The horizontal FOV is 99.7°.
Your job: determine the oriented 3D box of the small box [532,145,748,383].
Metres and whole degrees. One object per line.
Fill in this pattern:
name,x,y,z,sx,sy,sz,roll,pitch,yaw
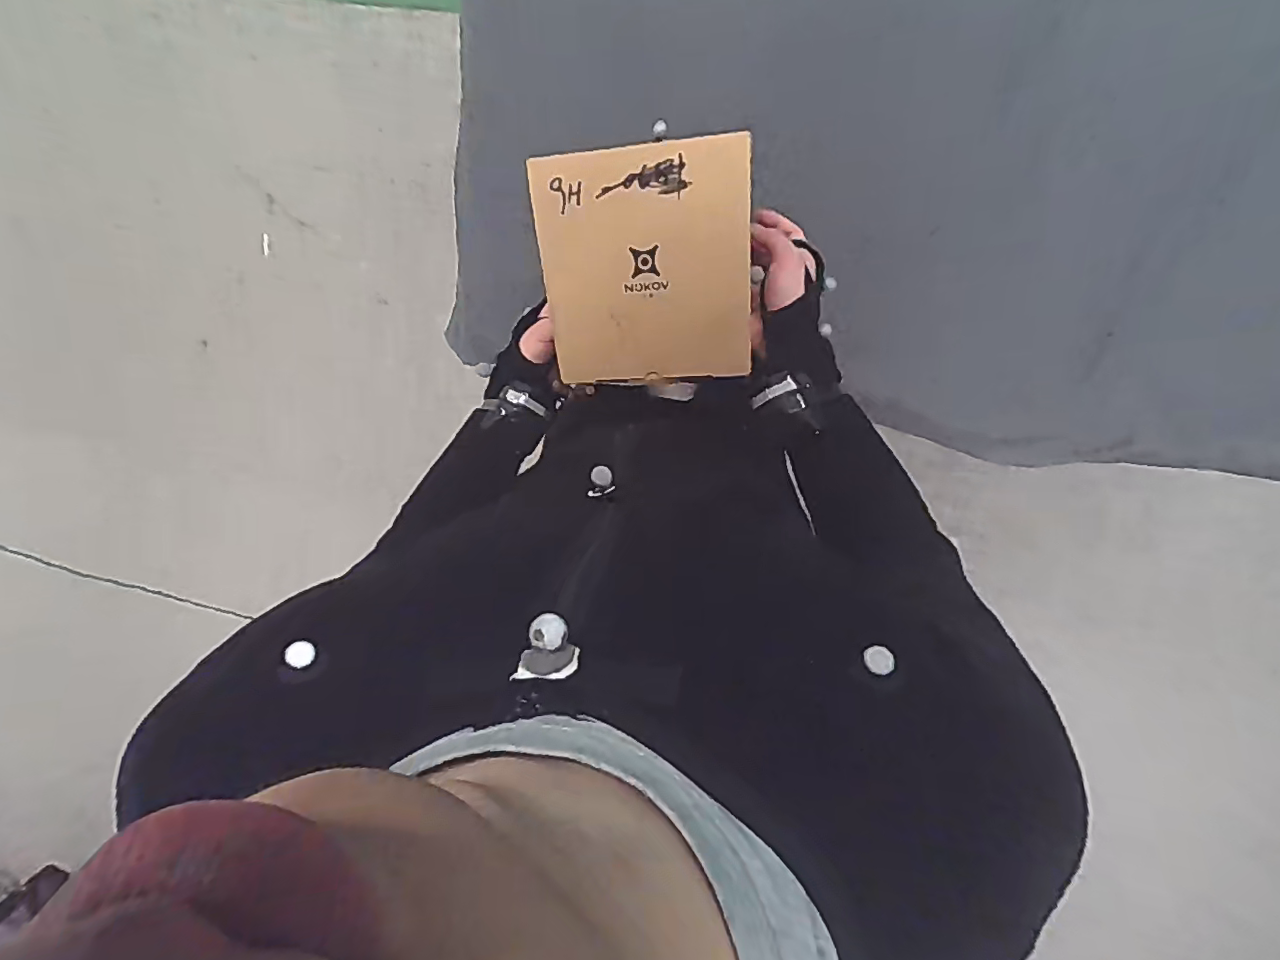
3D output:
small box,0.015,-0.203,0.508,0.168,0.176,0.179,-1,118,9
